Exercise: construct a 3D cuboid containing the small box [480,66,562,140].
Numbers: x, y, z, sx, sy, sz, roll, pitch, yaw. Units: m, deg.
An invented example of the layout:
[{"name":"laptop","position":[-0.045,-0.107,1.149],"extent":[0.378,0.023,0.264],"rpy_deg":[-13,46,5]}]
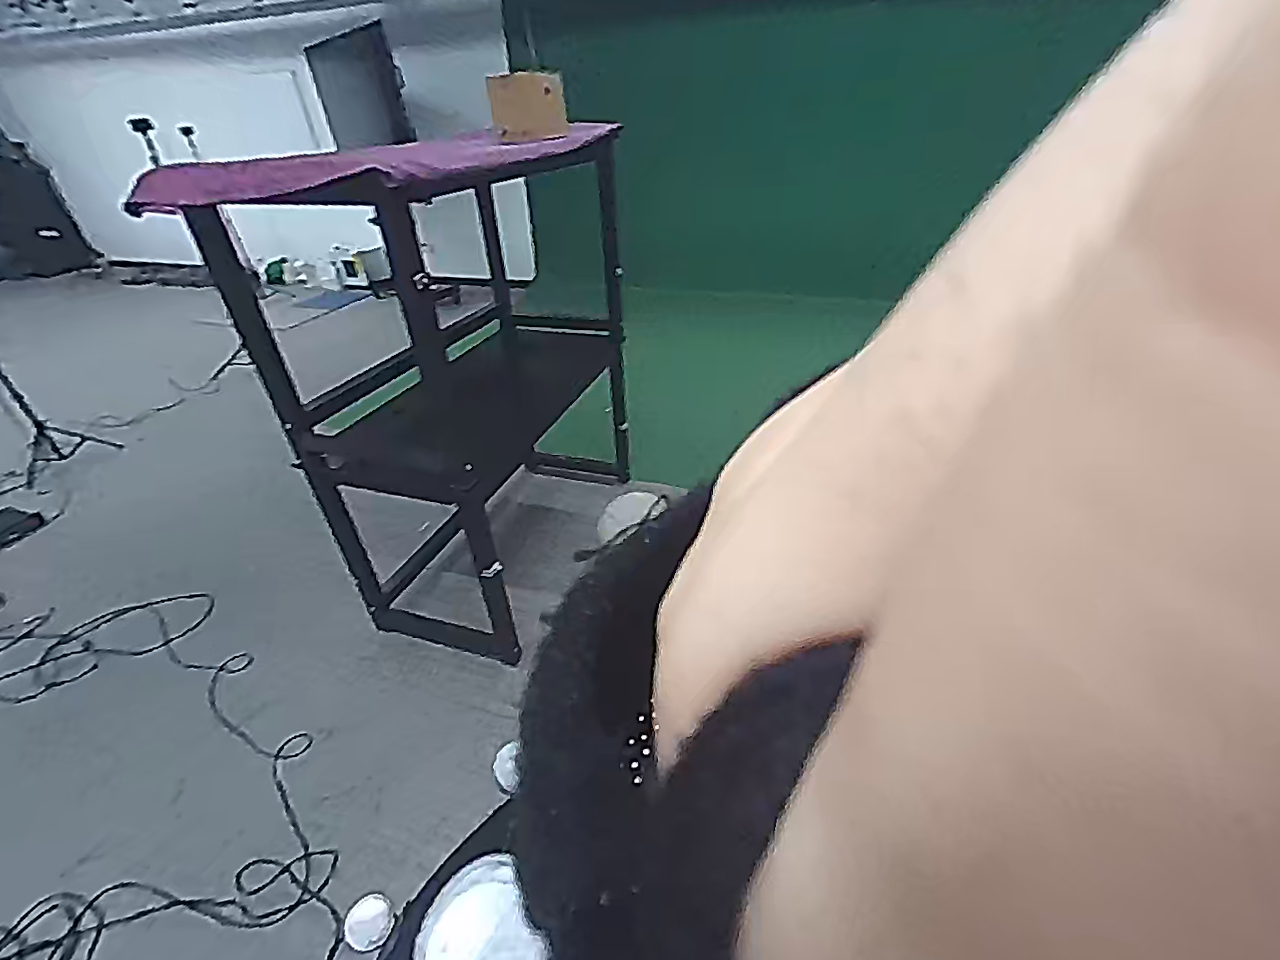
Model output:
[{"name":"small box","position":[-0.350,-1.136,1.638],"extent":[0.168,0.176,0.179],"rpy_deg":[8,36,19]}]
